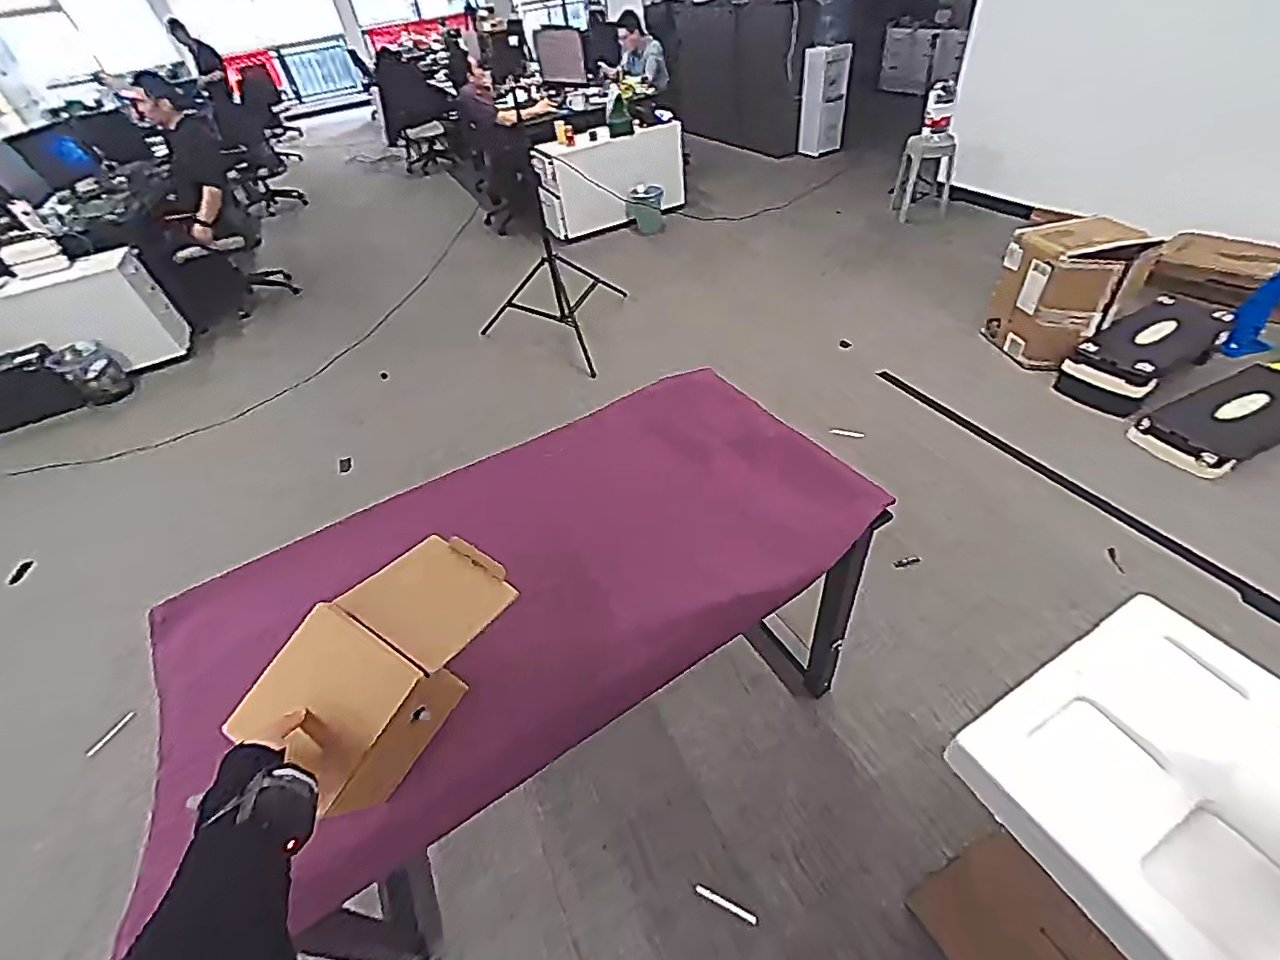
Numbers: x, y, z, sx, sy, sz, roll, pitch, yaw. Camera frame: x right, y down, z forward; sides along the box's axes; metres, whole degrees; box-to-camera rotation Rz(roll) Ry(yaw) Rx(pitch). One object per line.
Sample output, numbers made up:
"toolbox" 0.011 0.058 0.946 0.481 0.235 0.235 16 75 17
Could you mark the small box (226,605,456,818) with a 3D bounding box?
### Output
"small box" -0.365 0.296 0.703 0.168 0.176 0.179 33 66 14
